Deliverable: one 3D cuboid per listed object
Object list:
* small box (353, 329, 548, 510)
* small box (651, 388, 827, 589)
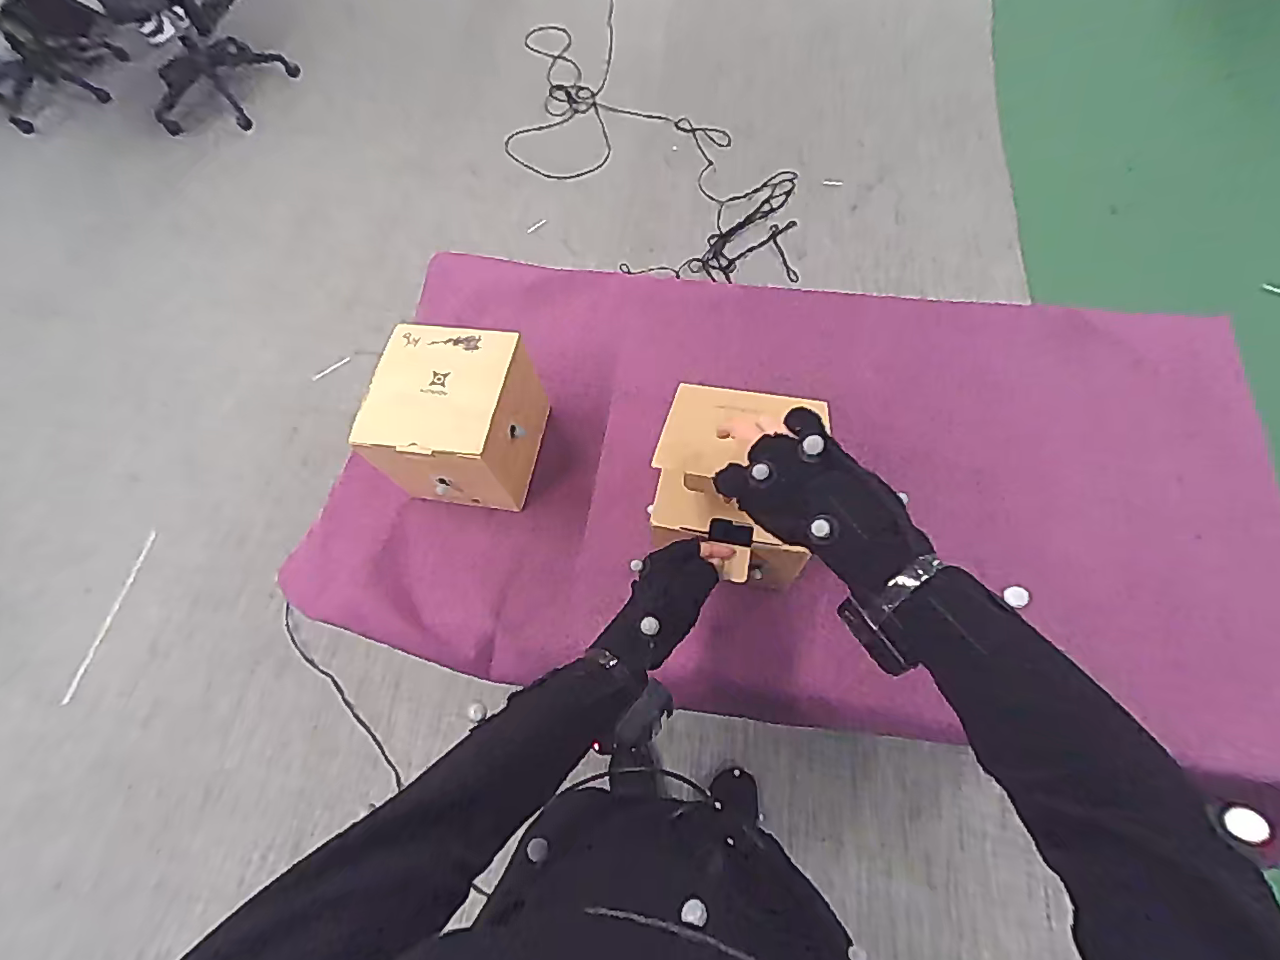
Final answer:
[{"bbox_3d":[-0.232,-0.072,0.715,0.168,0.176,0.179,7,66,8],"label":"small box"},{"bbox_3d":[0.115,0.018,0.644,0.168,0.176,0.179,9,66,9],"label":"small box"}]
